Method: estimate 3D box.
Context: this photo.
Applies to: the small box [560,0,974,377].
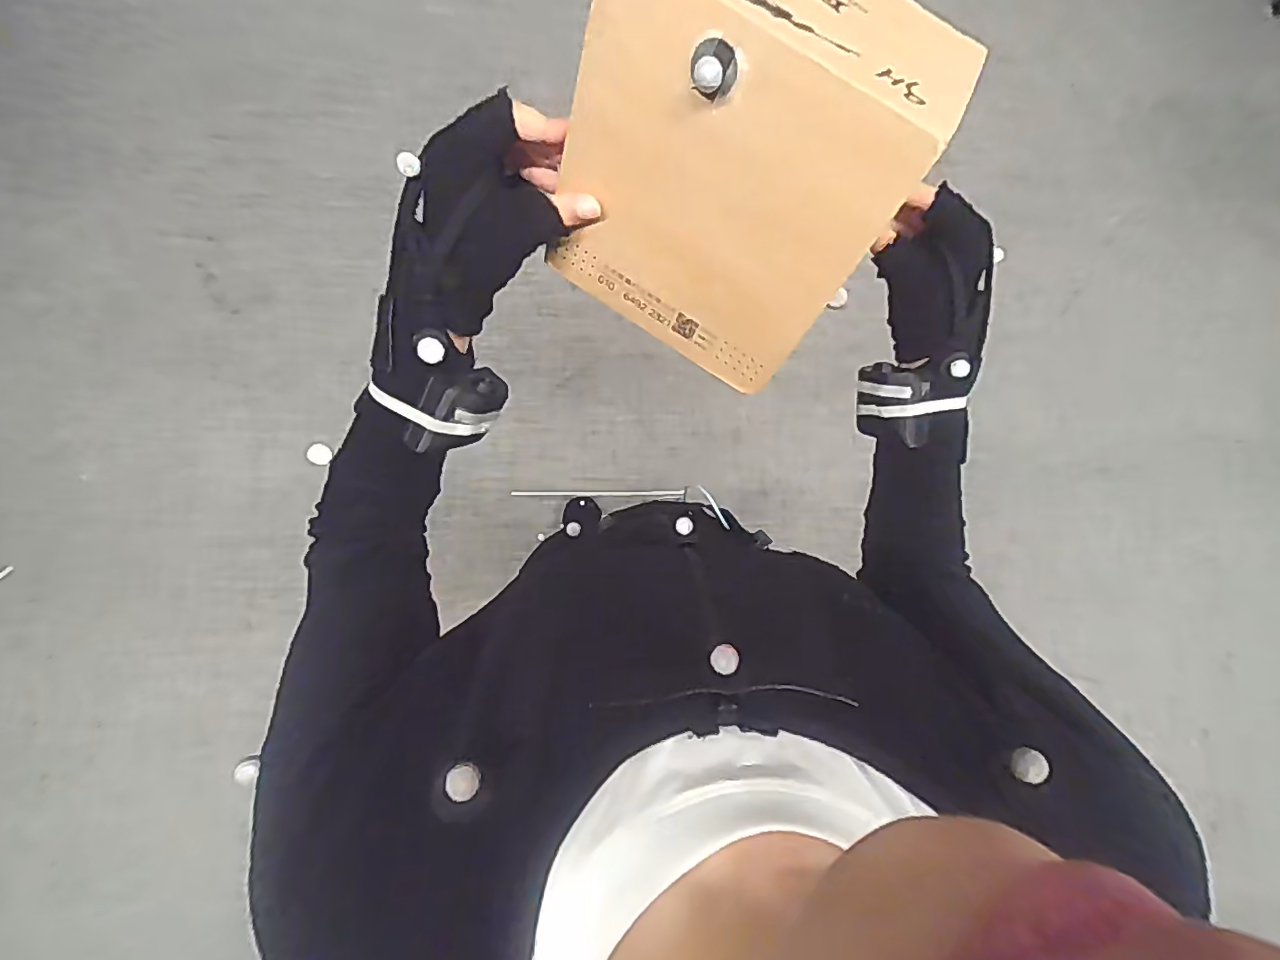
[{"bbox_3d":[0.068,-0.202,0.339,0.168,0.176,0.179,33,54,2],"label":"small box"}]
